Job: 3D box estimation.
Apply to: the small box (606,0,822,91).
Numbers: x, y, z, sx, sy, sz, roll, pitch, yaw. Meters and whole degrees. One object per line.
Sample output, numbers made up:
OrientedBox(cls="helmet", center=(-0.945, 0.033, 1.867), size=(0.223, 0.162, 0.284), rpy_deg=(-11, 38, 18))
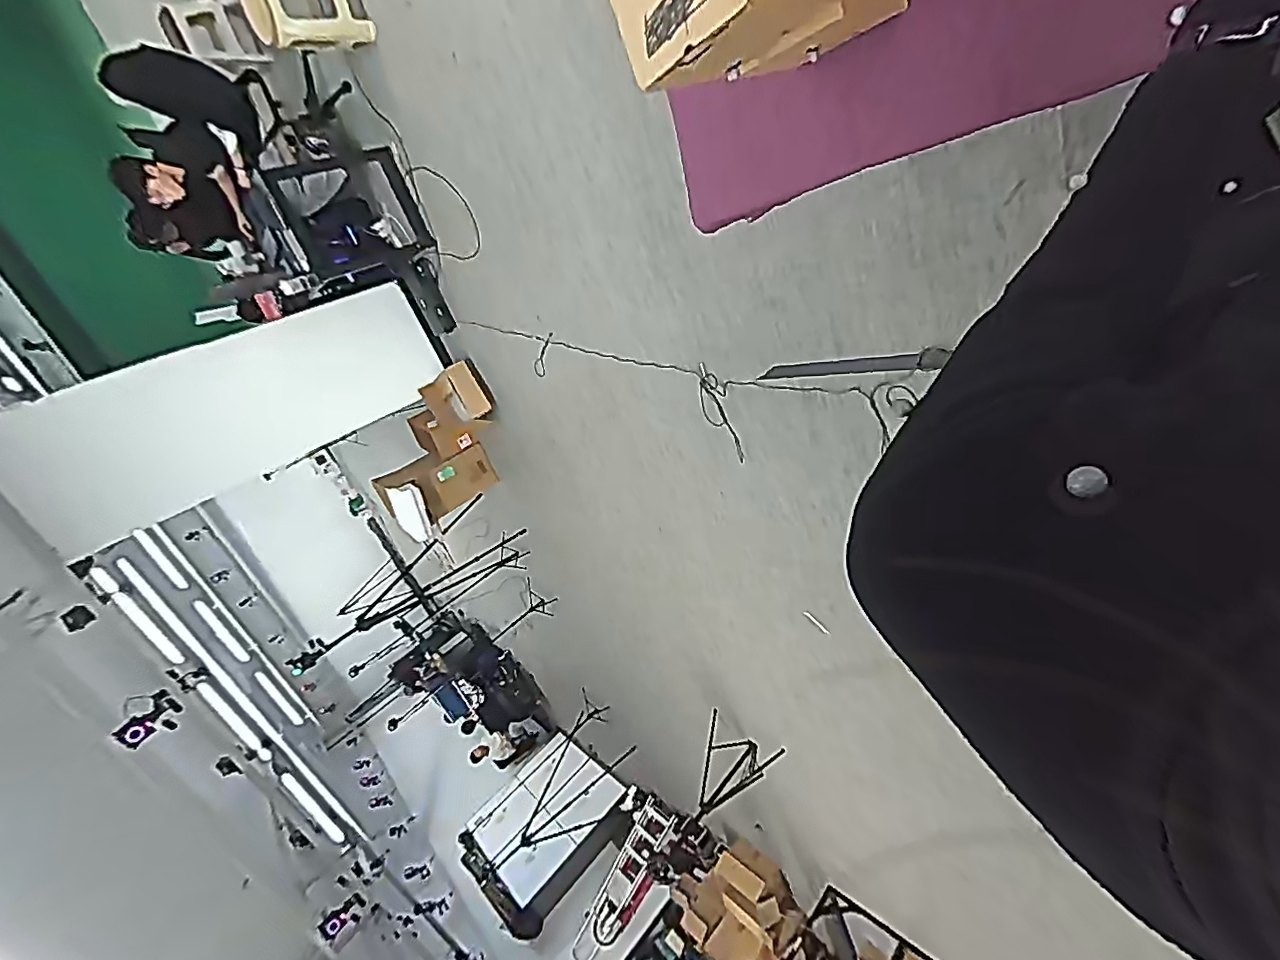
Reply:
OrientedBox(cls="small box", center=(0.072, -0.557, 0.571), size=(0.168, 0.176, 0.179), rpy_deg=(5, 124, 50))

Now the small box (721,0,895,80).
OrientedBox(cls="small box", center=(0.192, -0.630, 0.658), size=(0.168, 0.176, 0.179), rpy_deg=(10, 128, 48))
